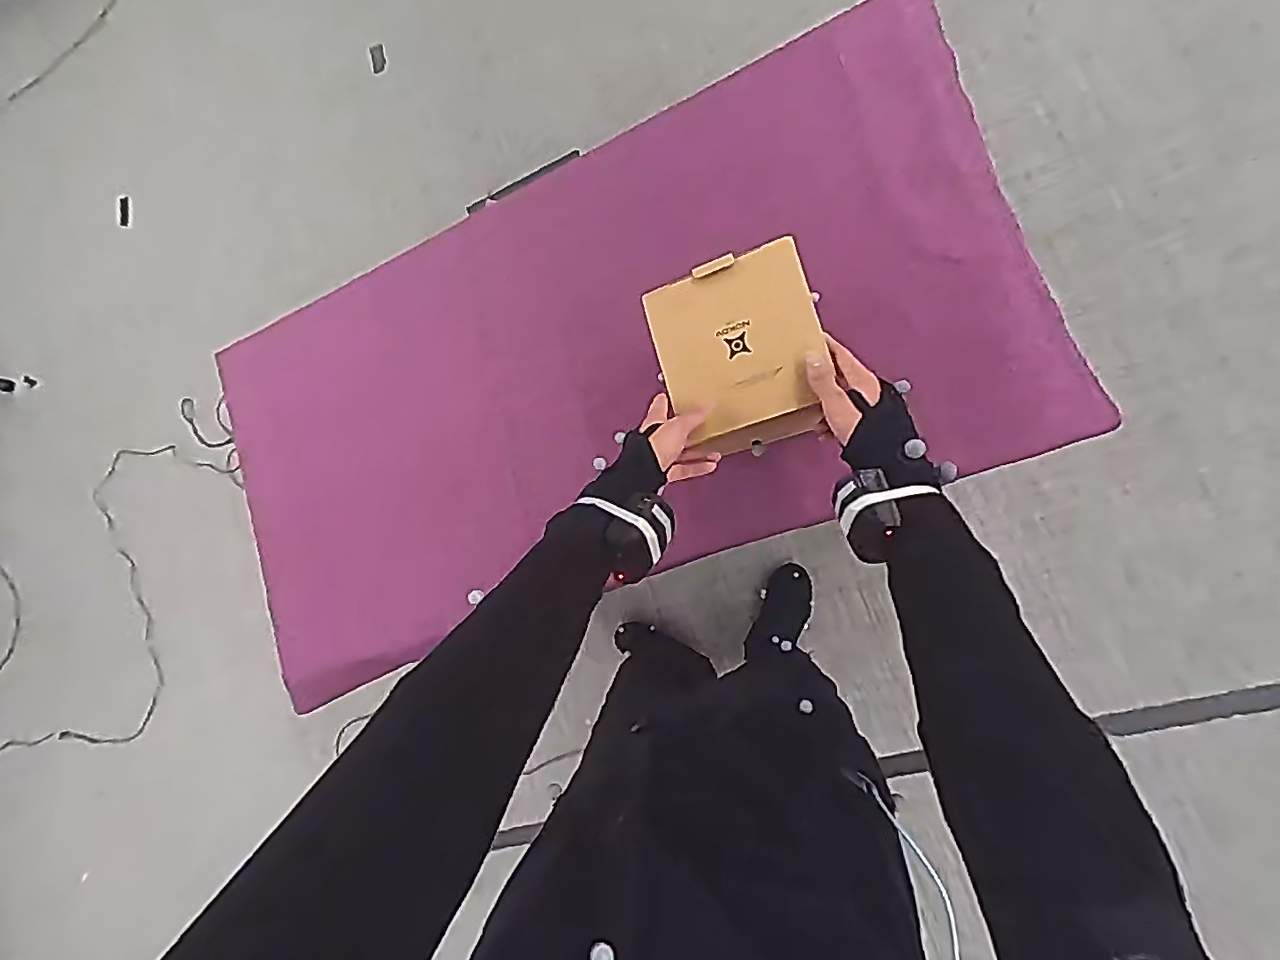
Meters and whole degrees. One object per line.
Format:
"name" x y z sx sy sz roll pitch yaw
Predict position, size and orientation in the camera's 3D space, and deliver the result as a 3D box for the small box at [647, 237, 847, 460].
"small box" 0.124 -0.133 0.620 0.168 0.176 0.179 -17 82 16
